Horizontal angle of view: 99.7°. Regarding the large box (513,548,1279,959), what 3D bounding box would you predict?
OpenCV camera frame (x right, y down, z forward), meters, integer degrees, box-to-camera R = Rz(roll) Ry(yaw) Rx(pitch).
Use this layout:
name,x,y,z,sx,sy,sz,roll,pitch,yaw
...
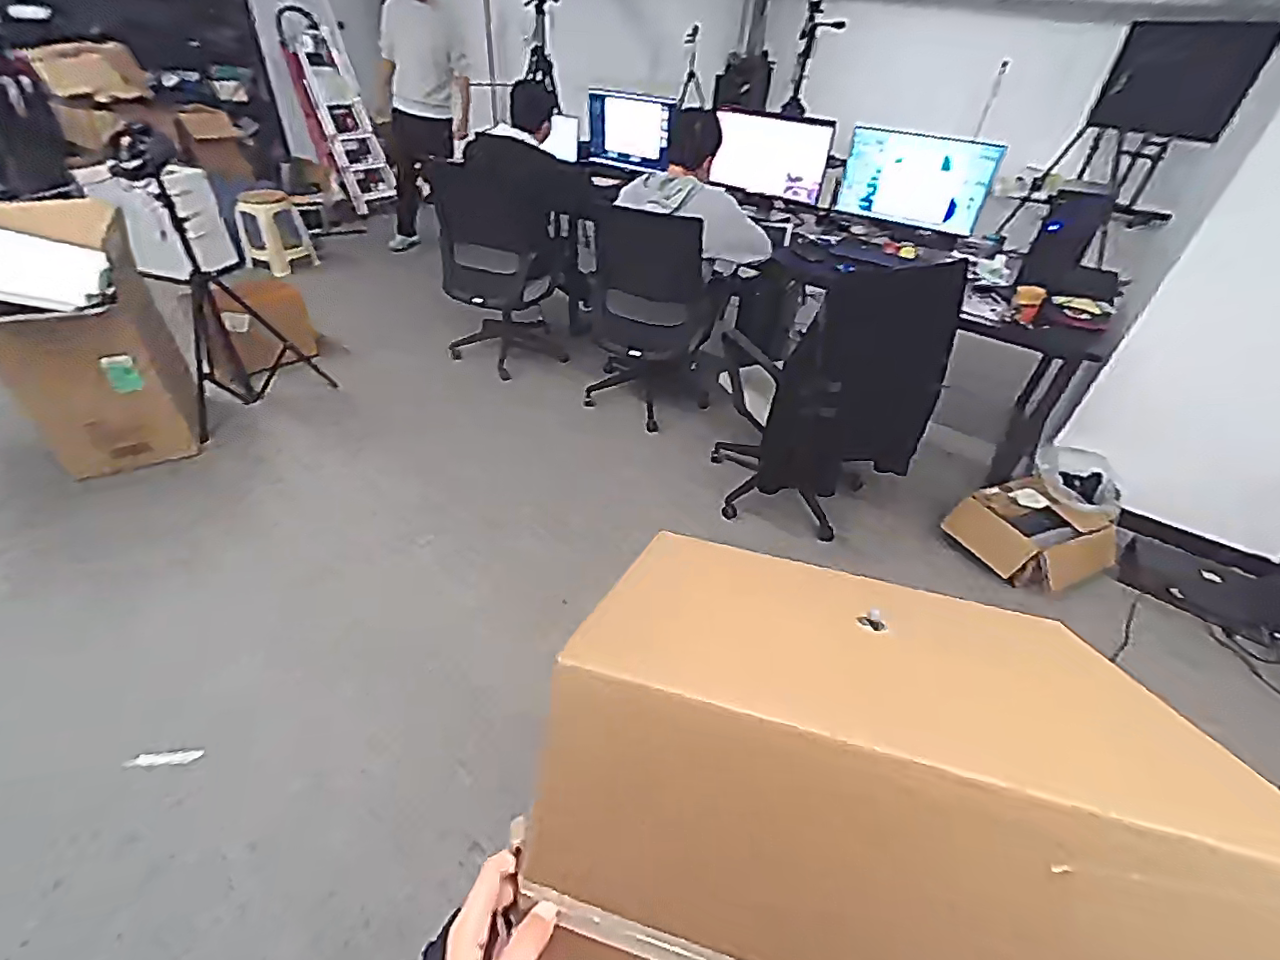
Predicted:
name,x,y,z,sx,sy,sz,roll,pitch,yaw
large box,0.145,0.271,0.453,0.408,0.320,0.320,10,11,10
